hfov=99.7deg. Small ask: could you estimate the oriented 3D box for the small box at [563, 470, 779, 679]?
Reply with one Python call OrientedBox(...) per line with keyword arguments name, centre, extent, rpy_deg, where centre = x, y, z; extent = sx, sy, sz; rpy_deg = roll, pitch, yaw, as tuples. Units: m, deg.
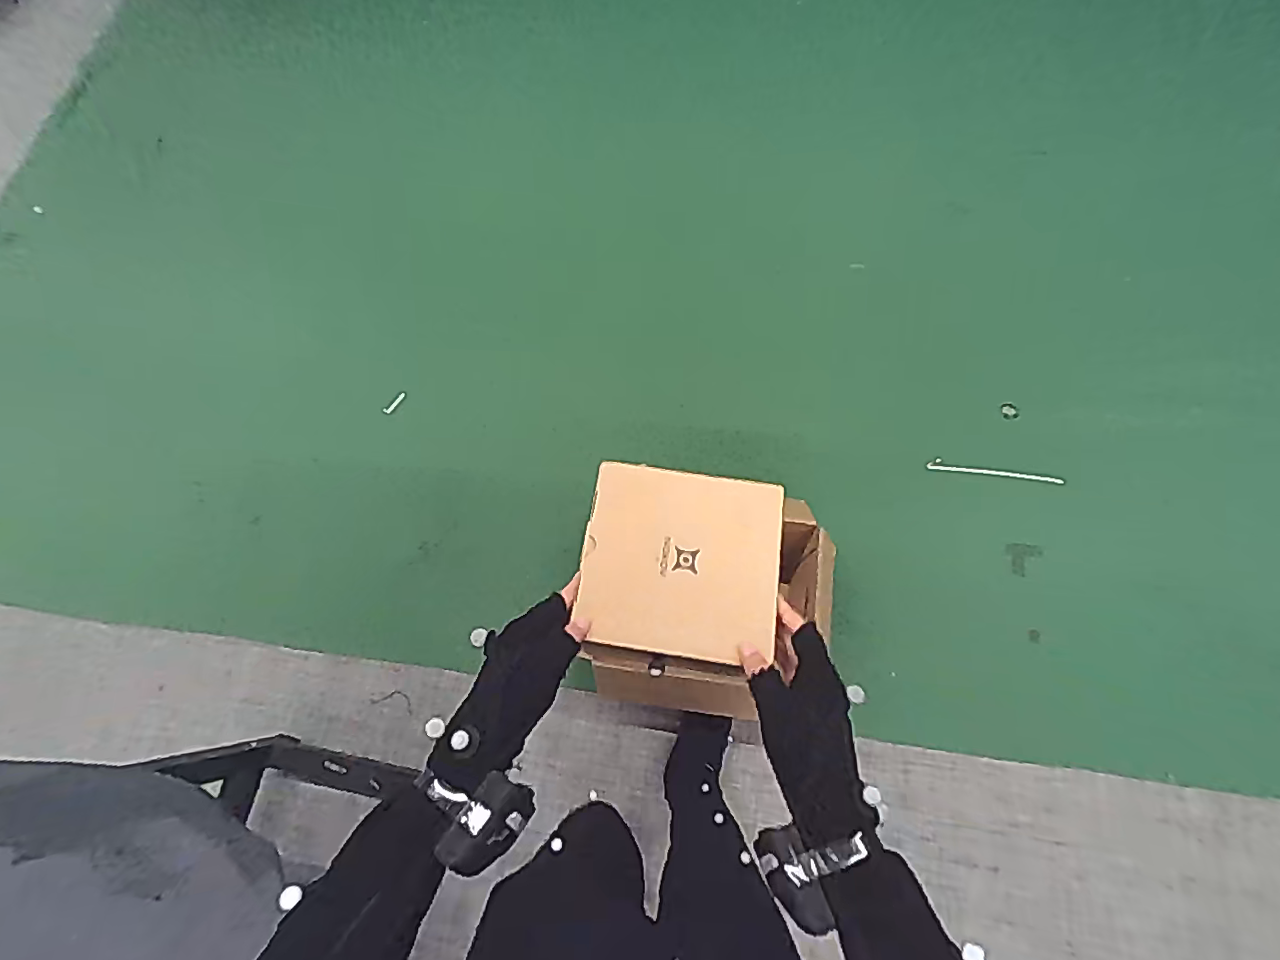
OrientedBox(name="small box", centre=(0.033, 0.106, 0.557), extent=(0.179, 0.176, 0.168), rpy_deg=(8, 68, 4))
